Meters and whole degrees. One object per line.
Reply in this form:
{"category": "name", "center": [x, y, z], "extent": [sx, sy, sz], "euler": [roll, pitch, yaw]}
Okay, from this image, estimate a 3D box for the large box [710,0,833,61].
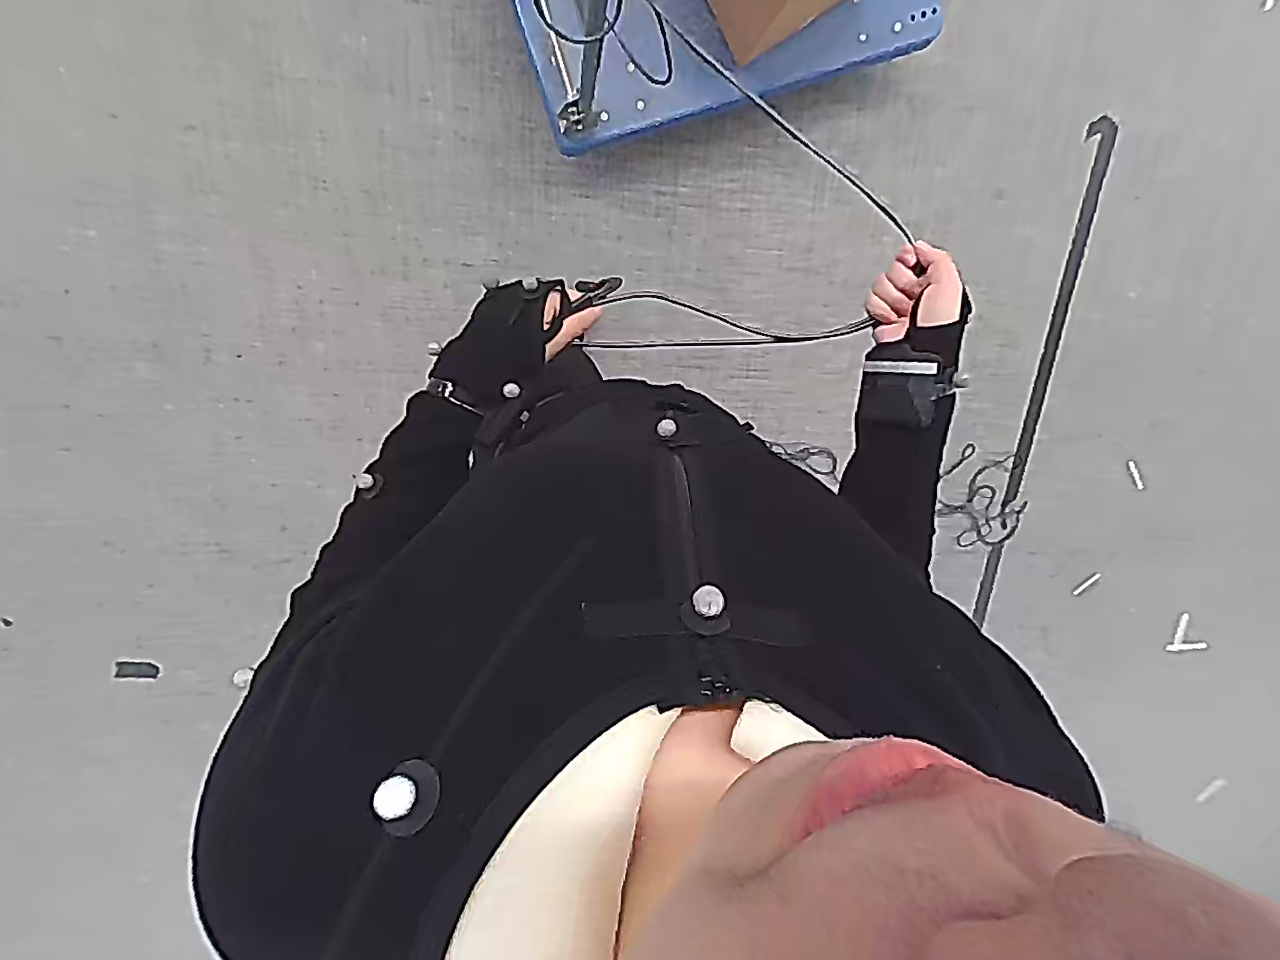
{"category": "large box", "center": [0.247, -1.058, 0.914], "extent": [0.320, 0.320, 0.408], "euler": [-33, 109, 3]}
